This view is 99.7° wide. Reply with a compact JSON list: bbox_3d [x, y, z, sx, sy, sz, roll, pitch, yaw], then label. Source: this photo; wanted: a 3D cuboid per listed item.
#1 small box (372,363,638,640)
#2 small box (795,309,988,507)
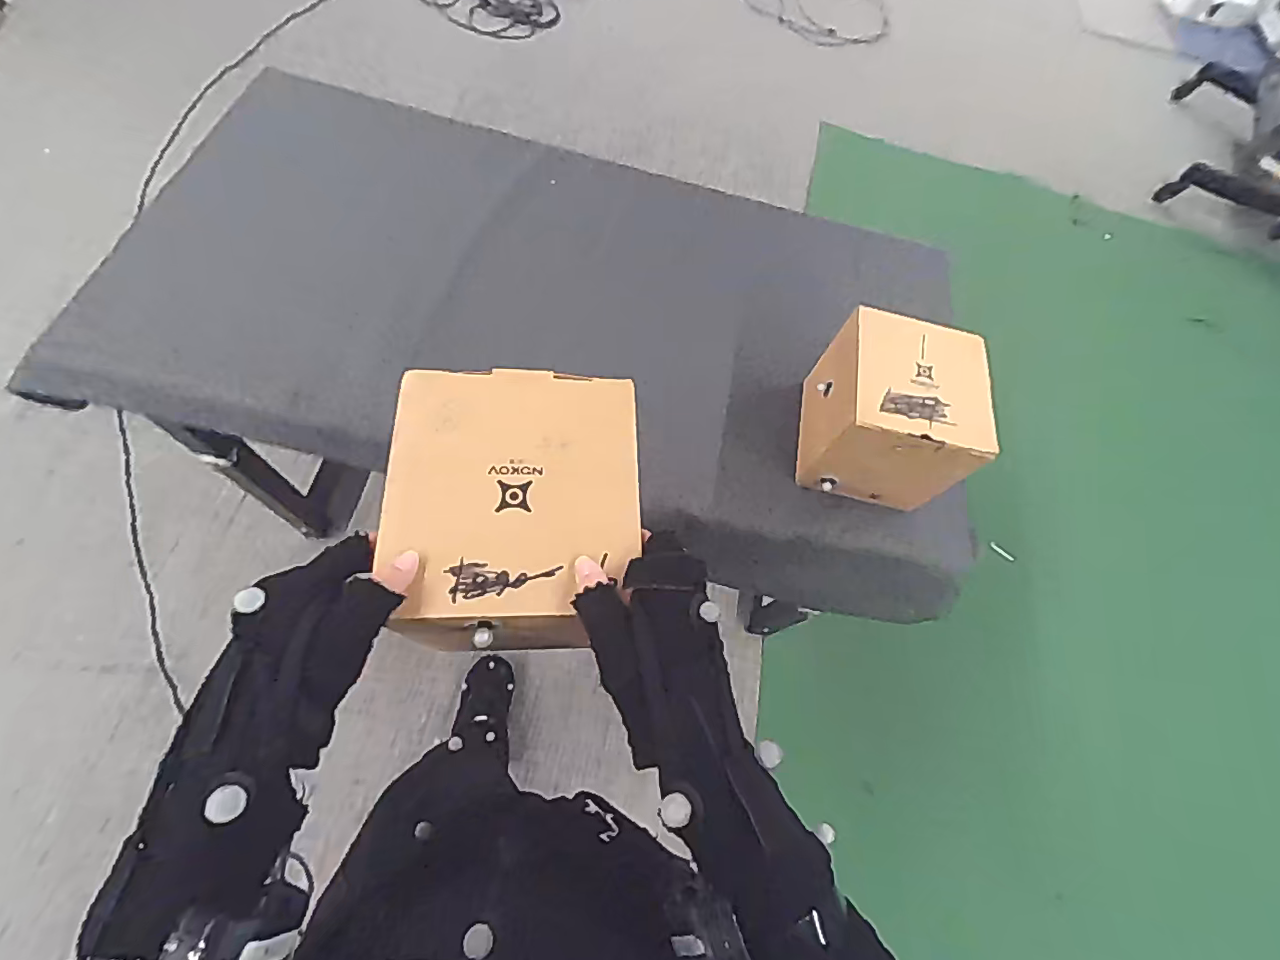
[{"bbox_3d":[-0.094,0.029,0.441,0.168,0.176,0.179,2,67,-7],"label":"small box"},{"bbox_3d":[0.314,-0.084,0.706,0.168,0.176,0.179,14,63,-2],"label":"small box"}]
